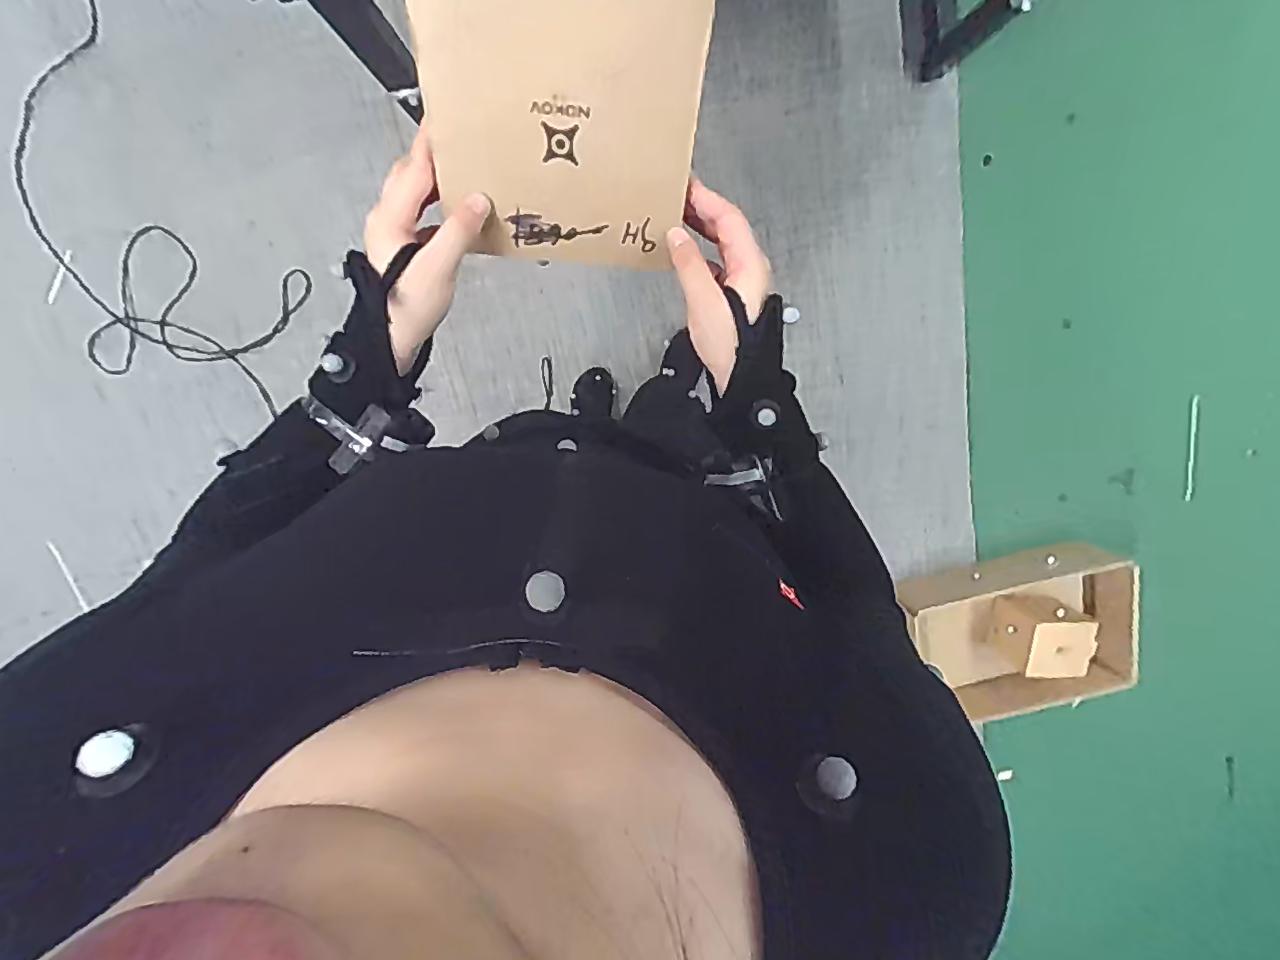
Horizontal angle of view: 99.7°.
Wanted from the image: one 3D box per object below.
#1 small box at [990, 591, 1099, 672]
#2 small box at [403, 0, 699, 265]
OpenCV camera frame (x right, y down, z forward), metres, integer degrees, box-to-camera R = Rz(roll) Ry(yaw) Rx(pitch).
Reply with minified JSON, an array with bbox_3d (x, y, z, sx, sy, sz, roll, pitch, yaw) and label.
[{"bbox_3d":[1.141,0.428,1.541,0.179,0.176,0.168,0,105,-2],"label":"small box"},{"bbox_3d":[-0.055,-0.284,0.395,0.168,0.176,0.179,2,139,-3],"label":"small box"}]
